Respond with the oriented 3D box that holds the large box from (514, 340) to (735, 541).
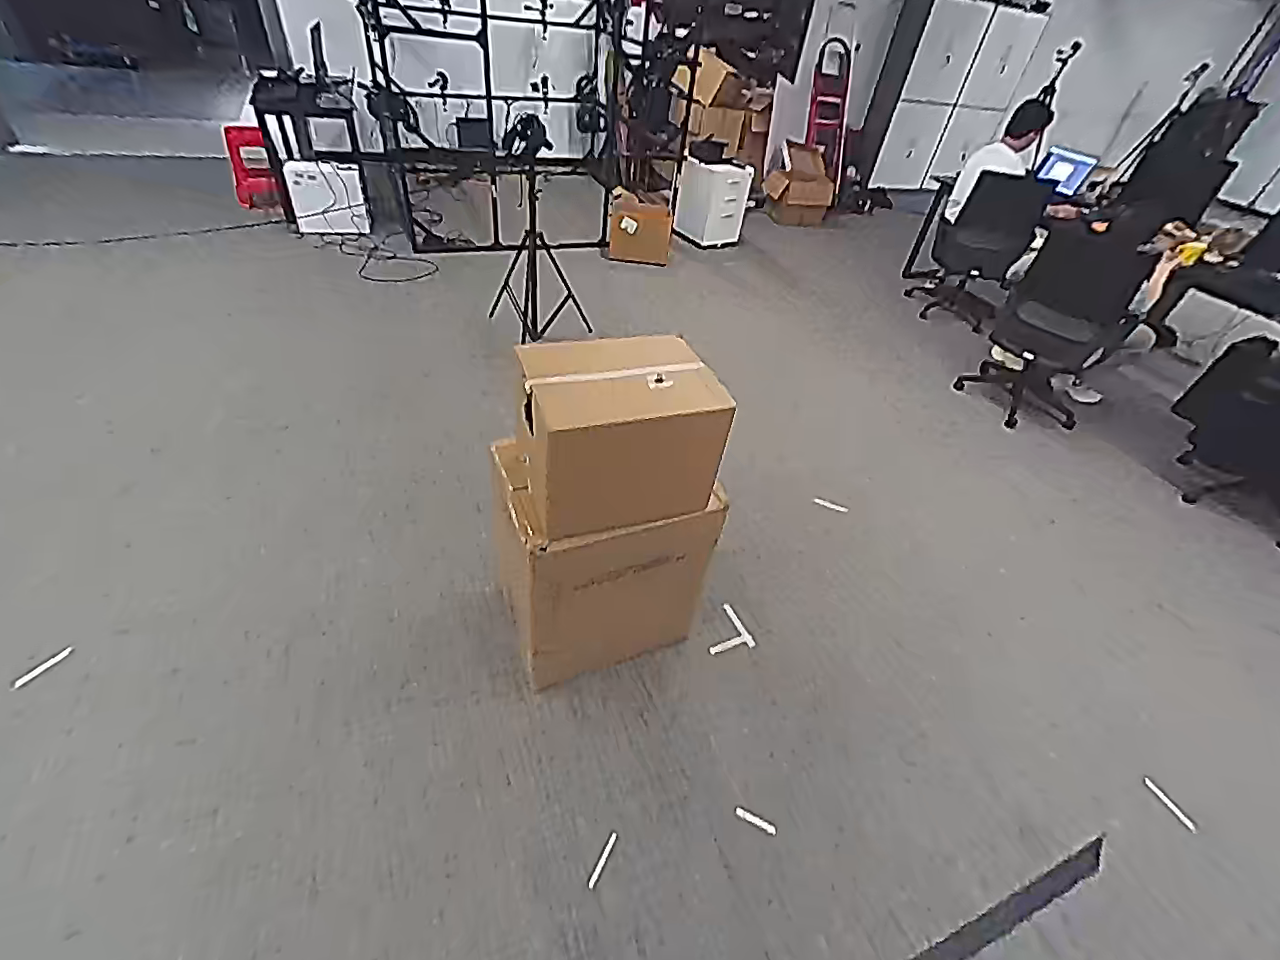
[{"bbox_3d":[-0.056,-0.101,1.247,0.408,0.320,0.320,-10,46,-21],"label":"large box"}]
